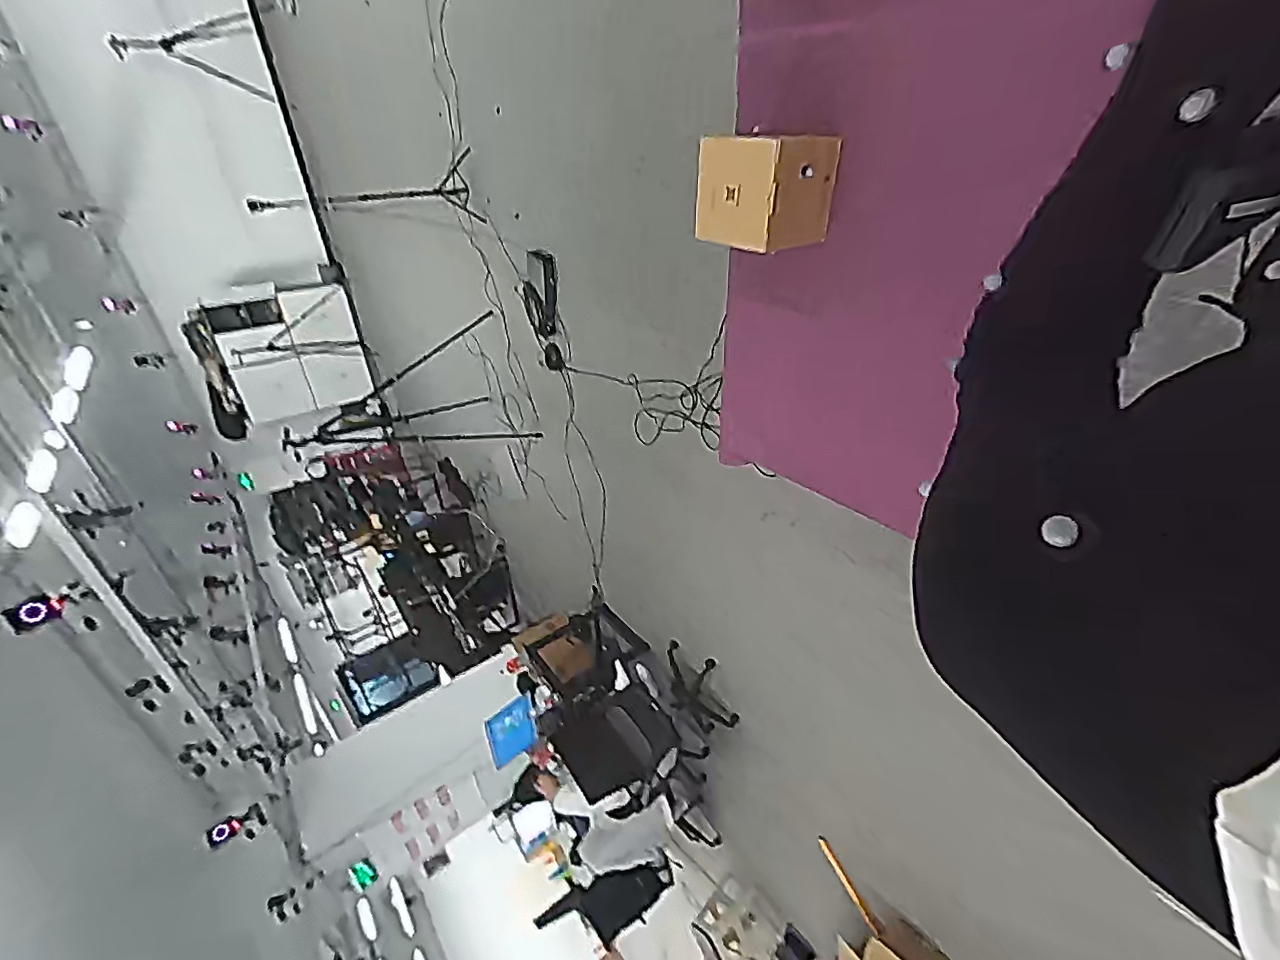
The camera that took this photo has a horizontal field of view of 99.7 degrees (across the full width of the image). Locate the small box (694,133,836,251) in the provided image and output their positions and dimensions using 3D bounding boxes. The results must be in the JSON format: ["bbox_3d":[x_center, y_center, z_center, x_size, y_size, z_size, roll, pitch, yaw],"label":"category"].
[{"bbox_3d":[0.221,-0.520,0.966,0.179,0.176,0.168,36,137,41],"label":"small box"}]
